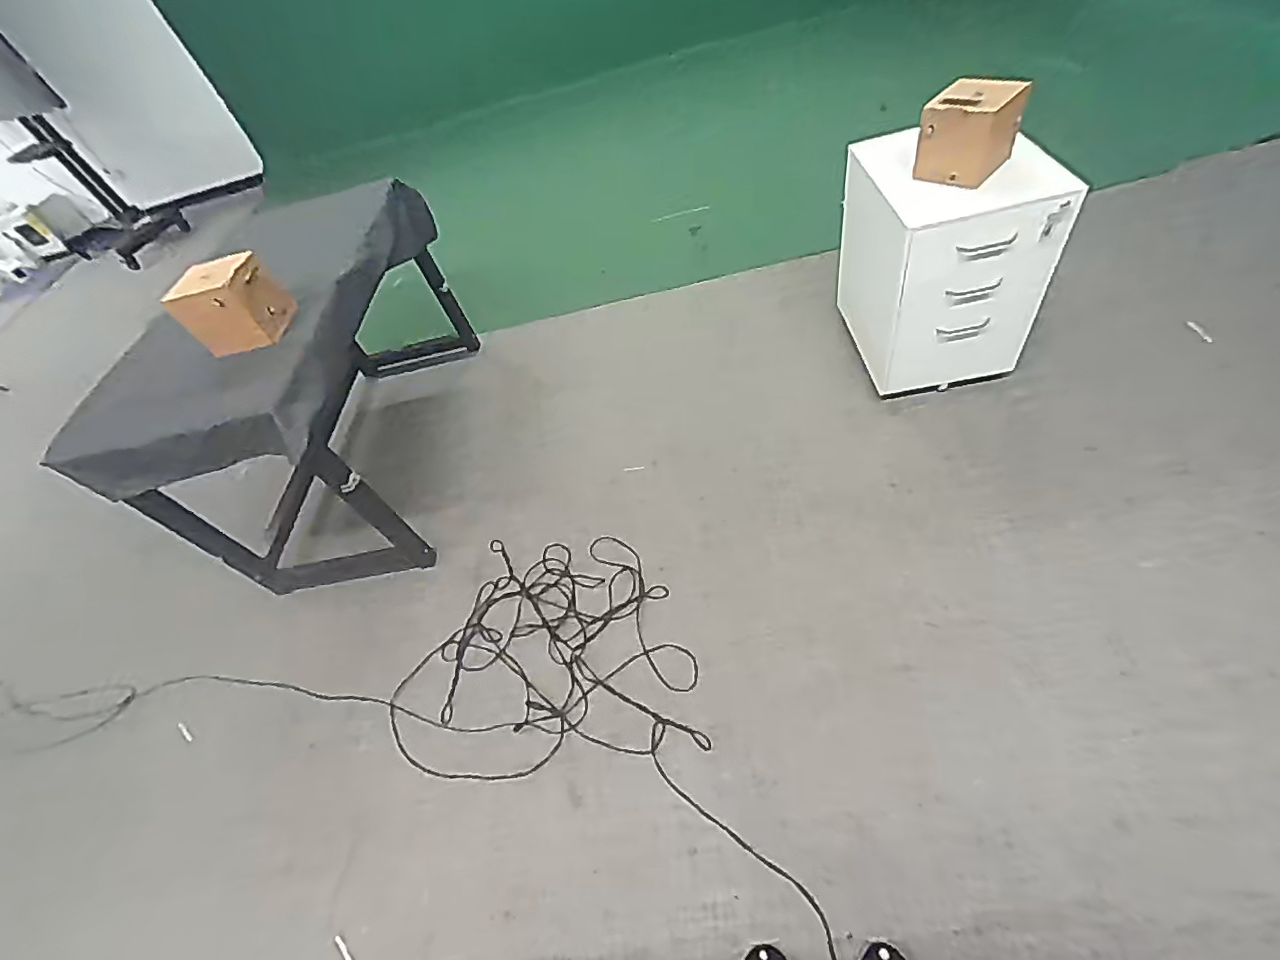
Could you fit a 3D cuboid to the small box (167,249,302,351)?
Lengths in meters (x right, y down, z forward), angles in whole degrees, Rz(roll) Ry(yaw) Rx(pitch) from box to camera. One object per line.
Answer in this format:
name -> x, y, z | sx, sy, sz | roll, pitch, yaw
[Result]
small box -> -1.006, -0.446, 1.359 | 0.179, 0.176, 0.168 | -10, 50, 8
